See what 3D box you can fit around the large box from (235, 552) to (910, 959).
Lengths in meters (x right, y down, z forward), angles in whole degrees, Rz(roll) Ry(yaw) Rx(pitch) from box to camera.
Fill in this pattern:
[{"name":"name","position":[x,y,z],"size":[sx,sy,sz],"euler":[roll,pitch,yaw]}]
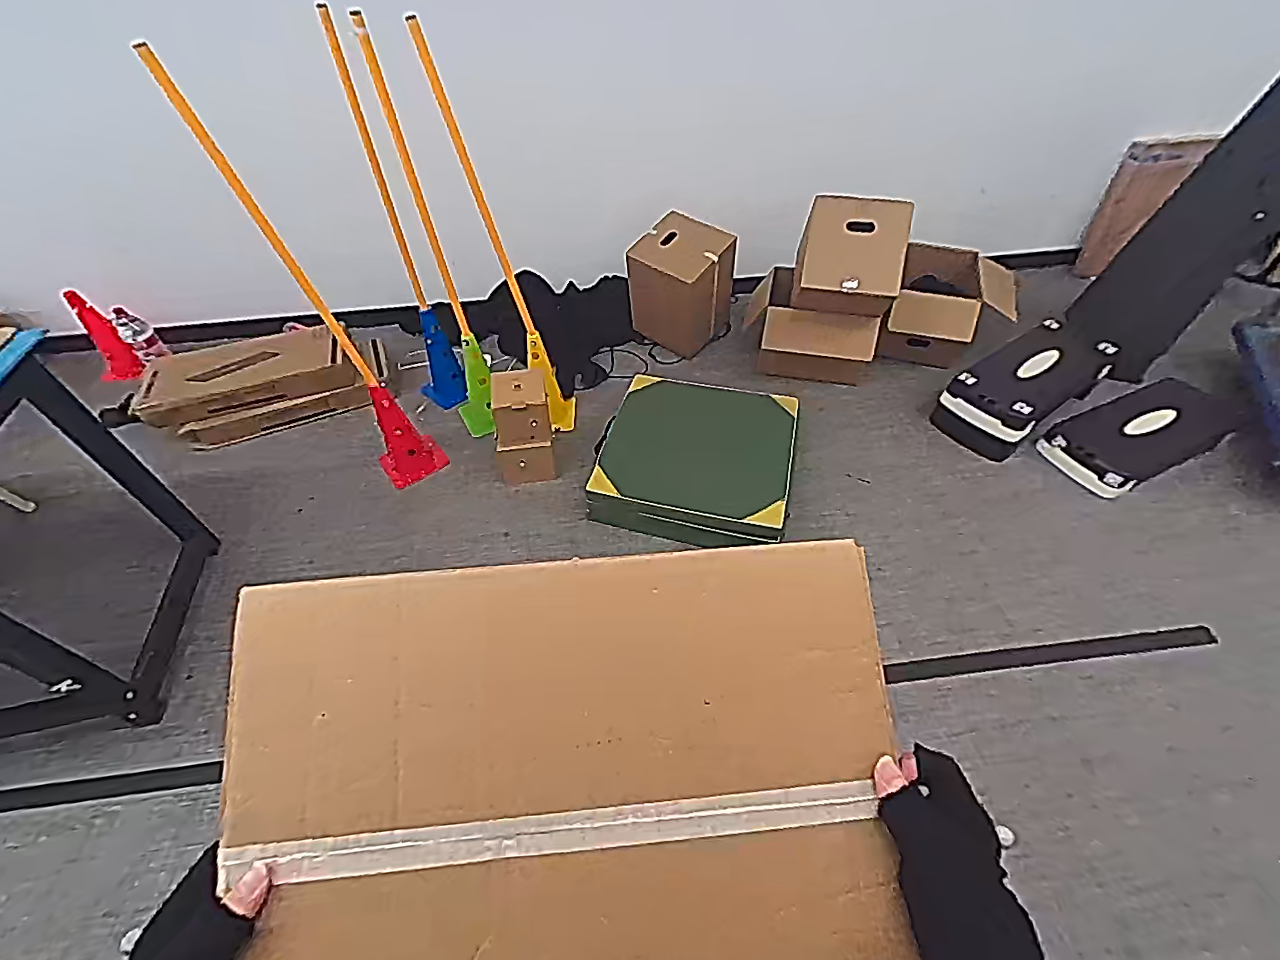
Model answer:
[{"name":"large box","position":[-0.045,0.248,0.482],"size":[0.408,0.320,0.320],"euler":[-4,77,-3]}]
